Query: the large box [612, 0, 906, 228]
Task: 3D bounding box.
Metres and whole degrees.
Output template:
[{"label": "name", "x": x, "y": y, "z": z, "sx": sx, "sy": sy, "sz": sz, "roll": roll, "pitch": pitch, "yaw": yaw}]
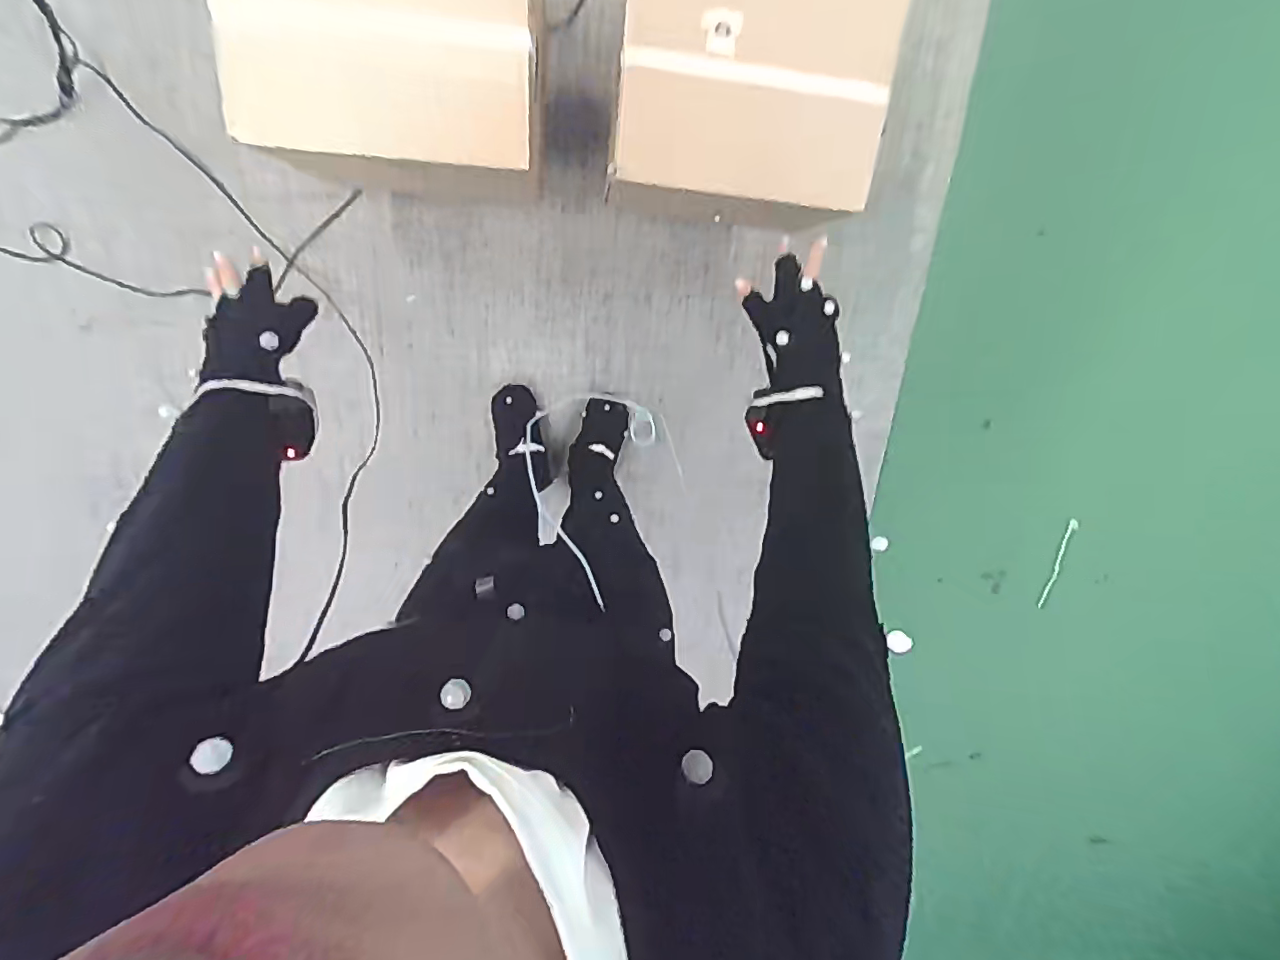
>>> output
[{"label": "large box", "x": 0.168, "y": -0.642, "z": 0.948, "sx": 0.408, "sy": 0.320, "sz": 0.320, "roll": 4, "pitch": 108, "yaw": -7}]
